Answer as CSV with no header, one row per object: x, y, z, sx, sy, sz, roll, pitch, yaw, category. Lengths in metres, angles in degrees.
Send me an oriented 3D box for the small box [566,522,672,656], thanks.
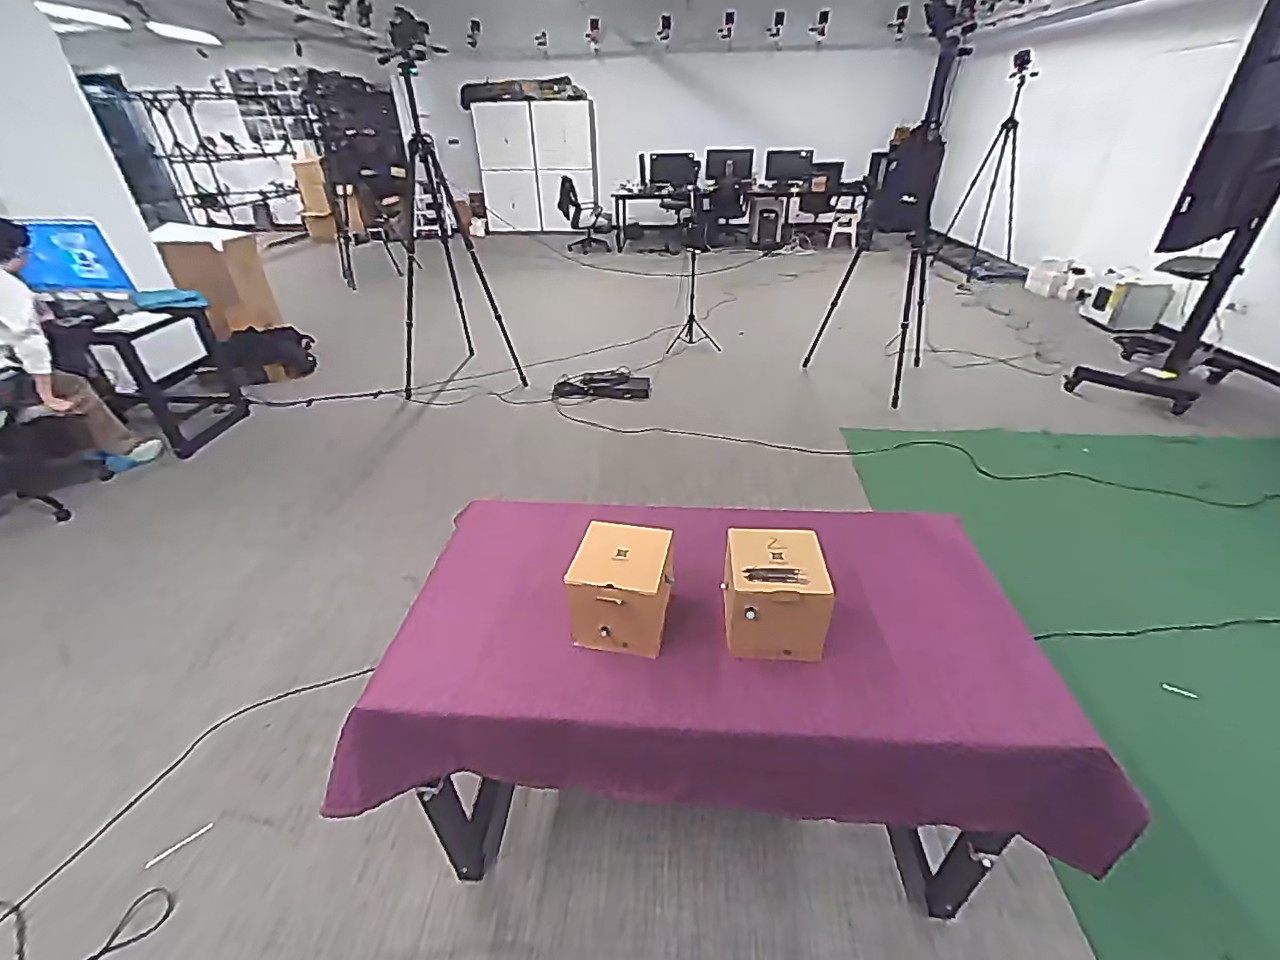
-0.035,0.208,1.047,0.168,0.176,0.179,6,35,11,small box
